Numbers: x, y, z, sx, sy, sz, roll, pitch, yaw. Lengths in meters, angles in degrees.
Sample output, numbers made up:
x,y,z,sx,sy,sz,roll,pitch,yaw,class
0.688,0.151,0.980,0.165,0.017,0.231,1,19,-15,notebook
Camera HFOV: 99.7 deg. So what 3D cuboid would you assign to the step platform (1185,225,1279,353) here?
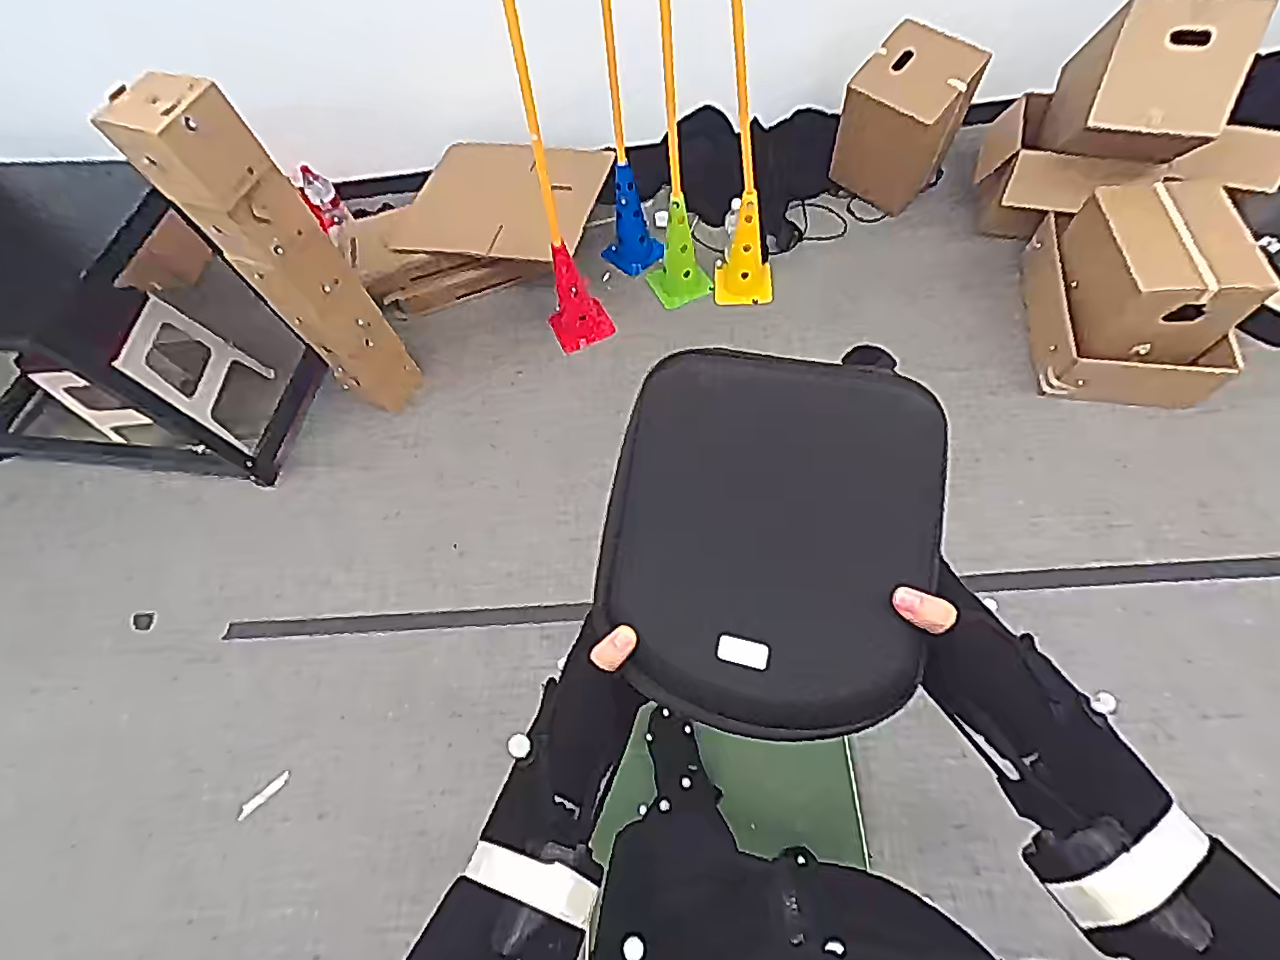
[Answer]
x,y,z,sx,sy,sz,roll,pitch,yaw,class
2.083,-0.672,1.655,0.684,0.204,0.286,-30,64,-8,step platform
